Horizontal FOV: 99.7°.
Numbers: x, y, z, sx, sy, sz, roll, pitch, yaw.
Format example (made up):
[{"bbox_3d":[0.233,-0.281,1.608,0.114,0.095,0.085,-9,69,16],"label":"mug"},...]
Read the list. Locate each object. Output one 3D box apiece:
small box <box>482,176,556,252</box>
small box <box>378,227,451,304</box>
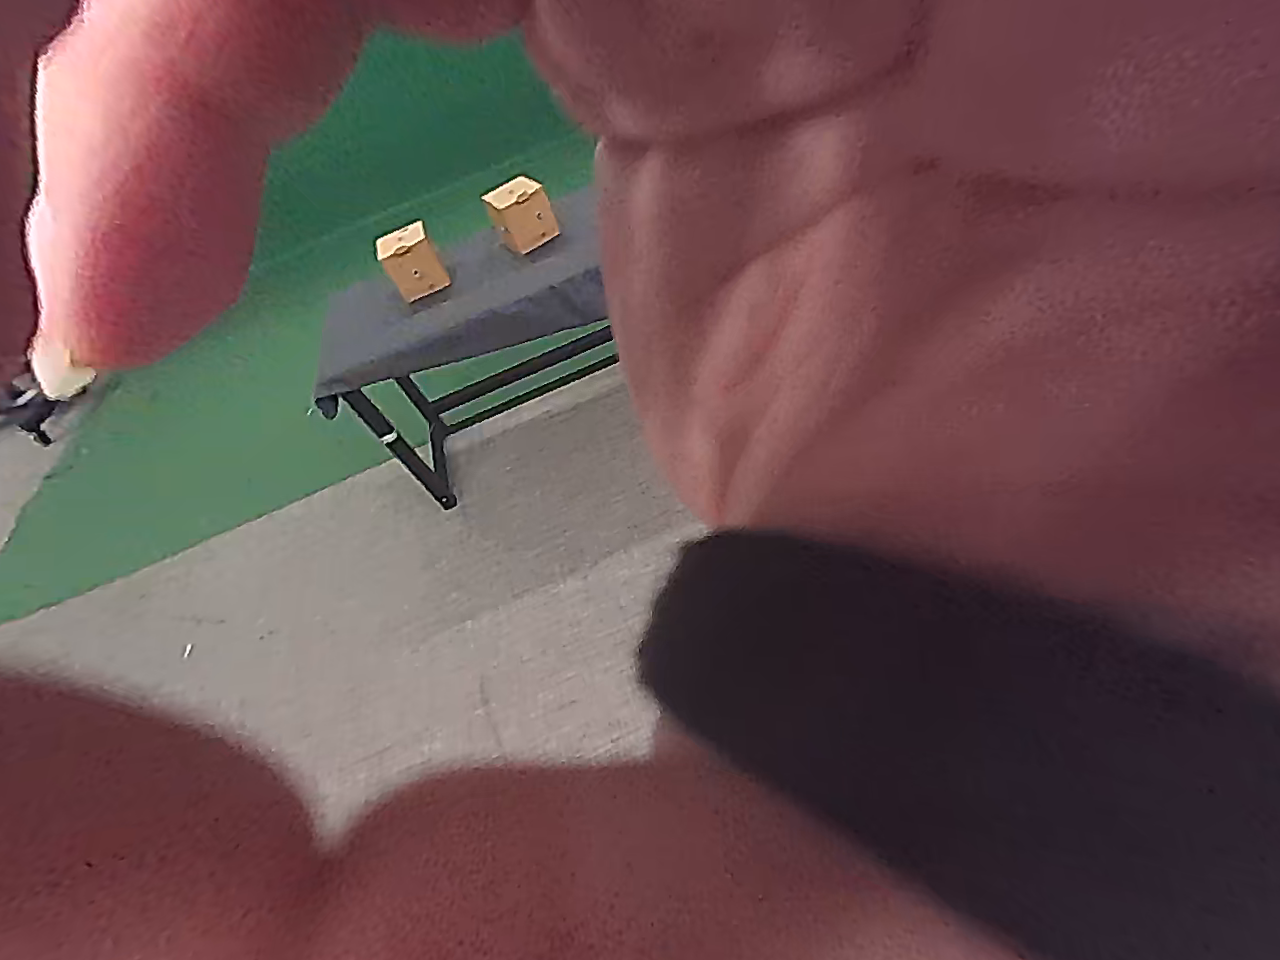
[{"bbox_3d":[-0.414,-0.917,1.875,0.168,0.176,0.179,-32,49,-13],"label":"small box"},{"bbox_3d":[-0.775,-0.735,1.869,0.168,0.176,0.179,-28,48,-4],"label":"small box"}]
